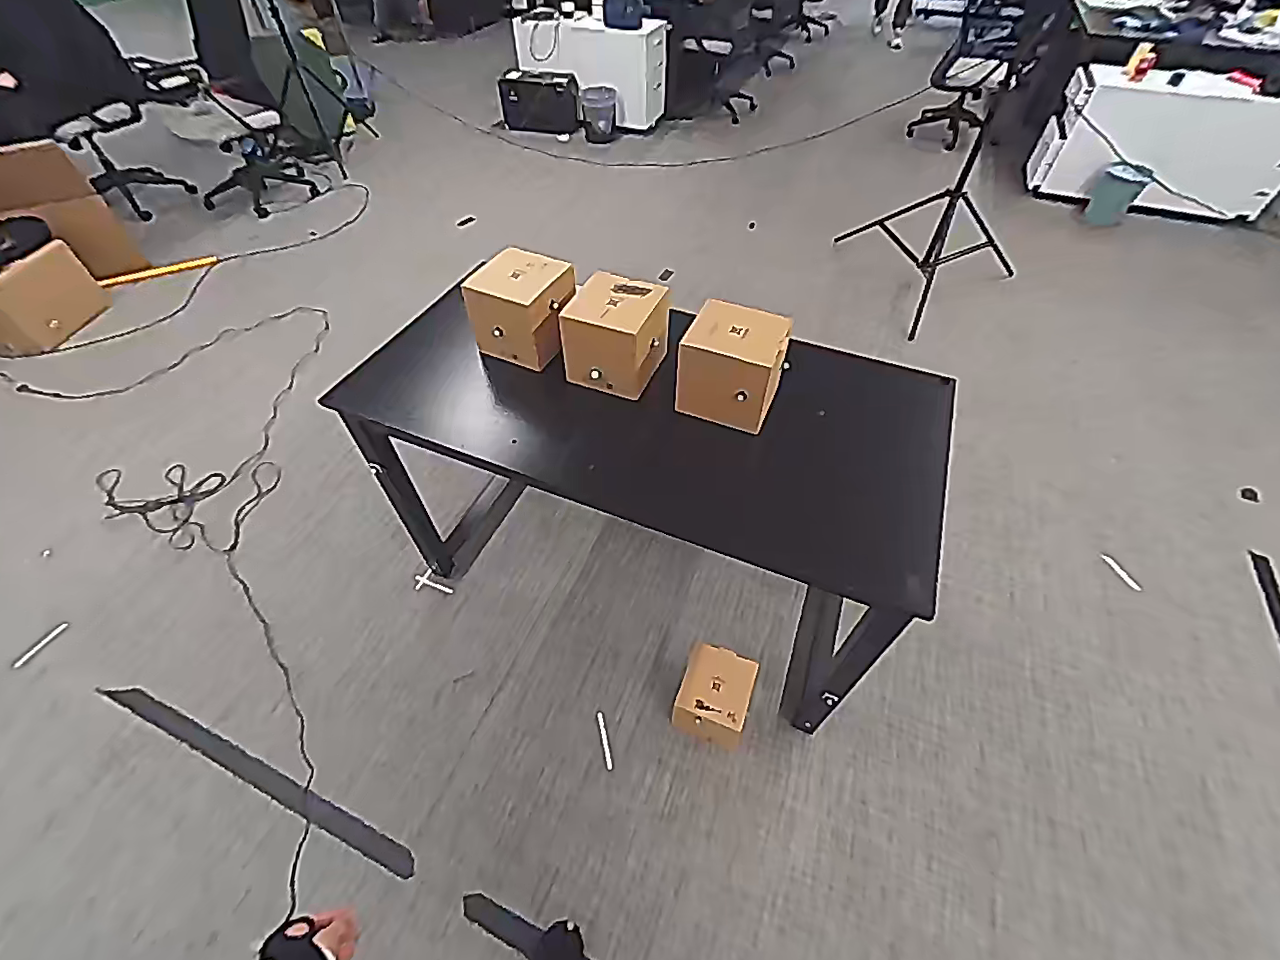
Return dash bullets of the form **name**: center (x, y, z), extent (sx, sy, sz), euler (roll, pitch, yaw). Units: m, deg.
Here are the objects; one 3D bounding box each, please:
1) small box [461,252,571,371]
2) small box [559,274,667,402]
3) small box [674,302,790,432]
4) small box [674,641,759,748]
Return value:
- **small box**: center (-0.256, -0.366, 1.186), extent (0.168, 0.176, 0.179), euler (21, 53, 15)
- **small box**: center (-0.052, -0.294, 1.126), extent (0.168, 0.176, 0.179), euler (17, 54, 13)
- **small box**: center (0.177, -0.219, 1.067), extent (0.179, 0.176, 0.168), euler (17, 51, 15)
- **small box**: center (0.189, 0.547, 1.374), extent (0.168, 0.176, 0.179), euler (17, 52, 14)
